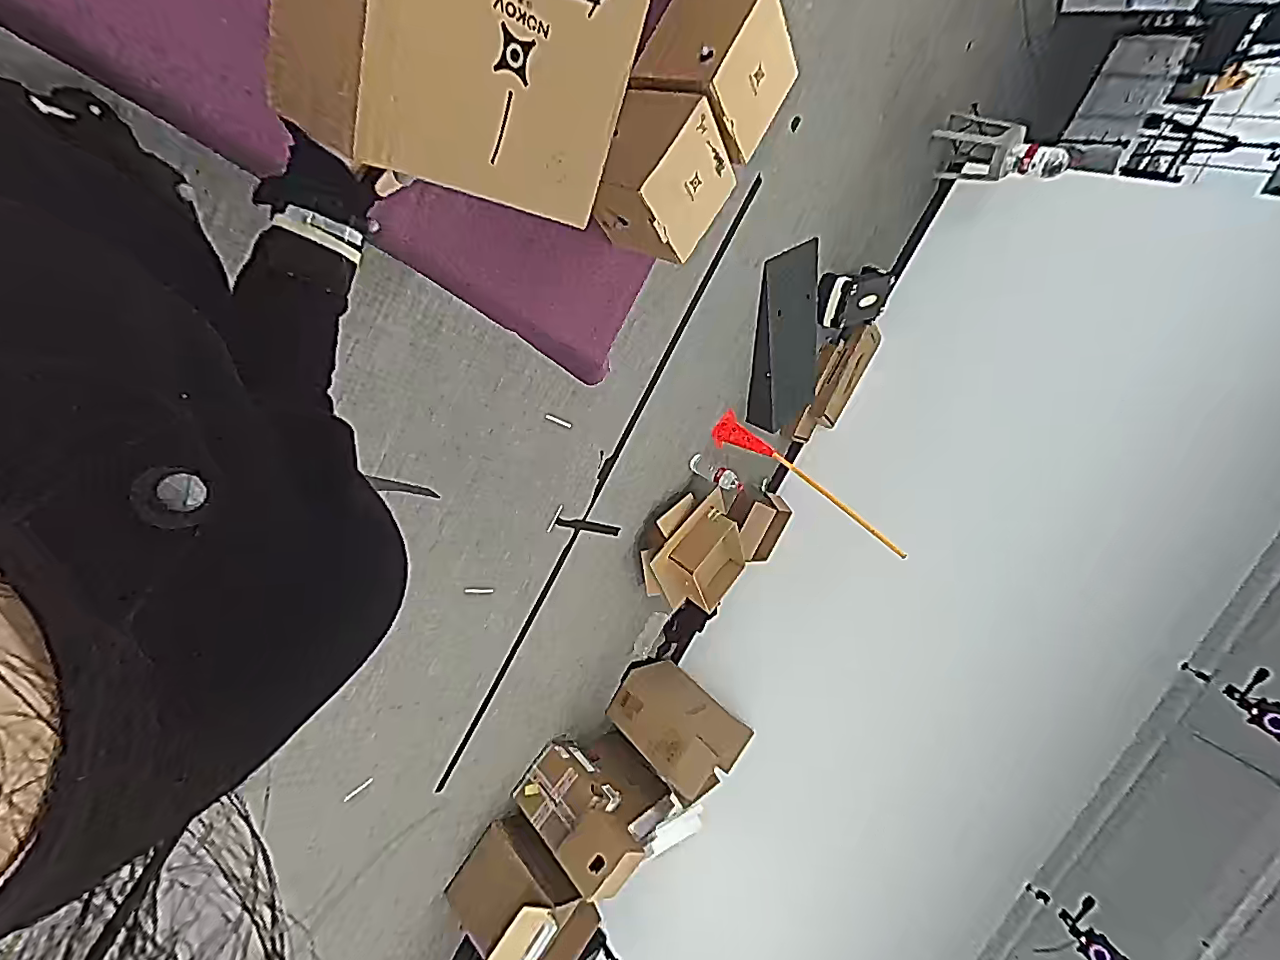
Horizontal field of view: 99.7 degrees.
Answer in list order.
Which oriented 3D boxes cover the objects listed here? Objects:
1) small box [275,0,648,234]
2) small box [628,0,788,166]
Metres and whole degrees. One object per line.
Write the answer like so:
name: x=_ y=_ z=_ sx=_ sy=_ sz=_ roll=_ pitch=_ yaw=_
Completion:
small box: x=-0.124 y=-0.296 z=0.361 sx=0.168 sy=0.176 sz=0.179 roll=-8 pitch=129 yaw=-46
small box: x=0.110 y=-0.657 z=0.881 sx=0.179 sy=0.176 sz=0.168 roll=-60 pitch=148 yaw=2
